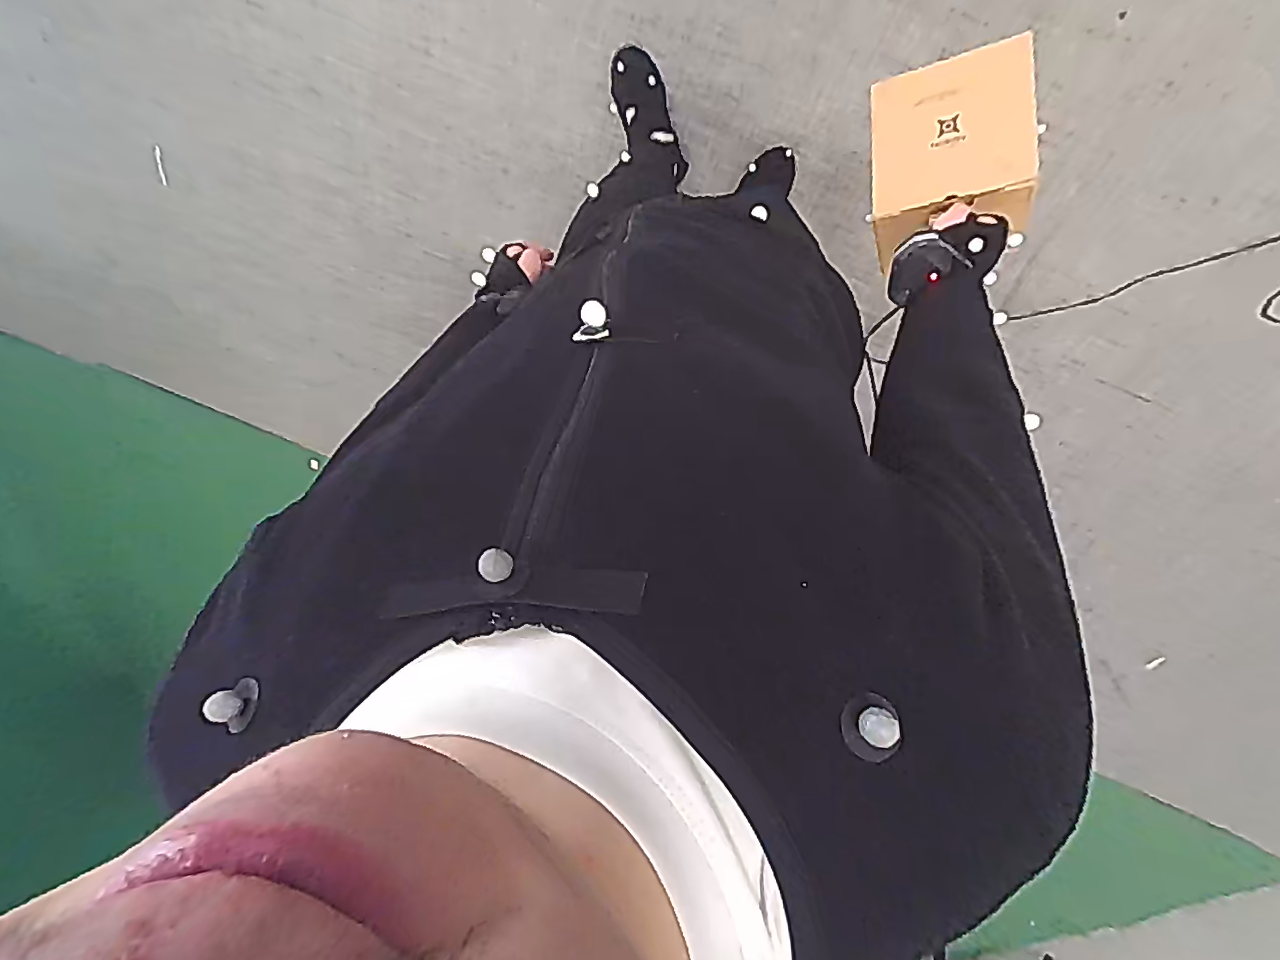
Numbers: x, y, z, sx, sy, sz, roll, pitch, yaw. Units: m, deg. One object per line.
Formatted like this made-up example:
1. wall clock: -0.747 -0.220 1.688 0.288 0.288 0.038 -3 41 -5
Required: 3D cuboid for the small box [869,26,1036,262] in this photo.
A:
1. small box: 0.384 -0.397 0.683 0.168 0.176 0.179 -1 83 26
